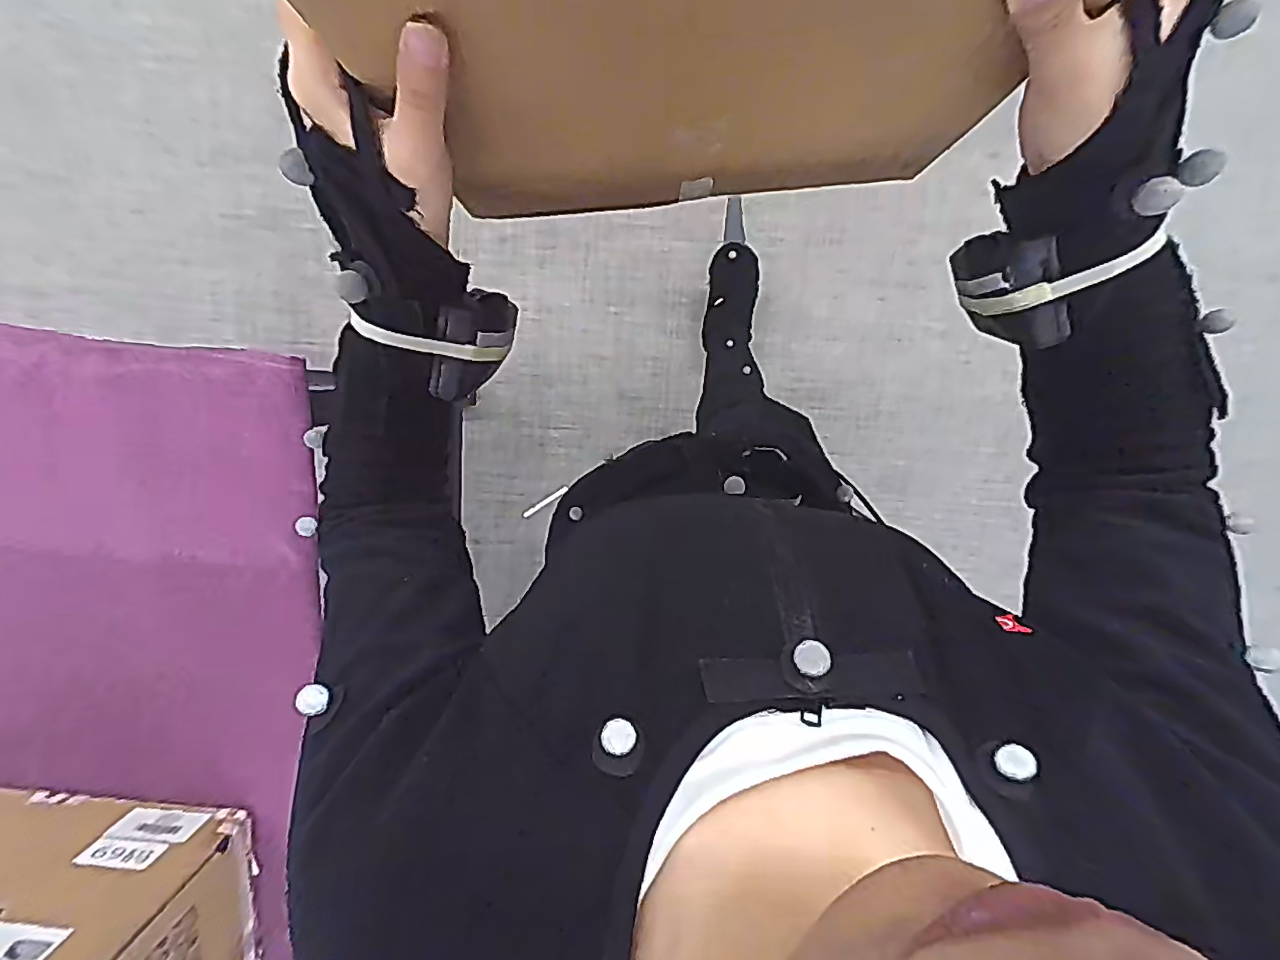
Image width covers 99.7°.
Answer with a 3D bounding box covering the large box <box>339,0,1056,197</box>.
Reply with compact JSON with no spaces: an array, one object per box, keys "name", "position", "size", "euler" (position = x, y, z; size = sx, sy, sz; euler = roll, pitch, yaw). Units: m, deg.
[{"name":"large box","position":[0.015,-0.389,0.204],"size":[0.320,0.320,0.408],"euler":[-6,96,3]}]
